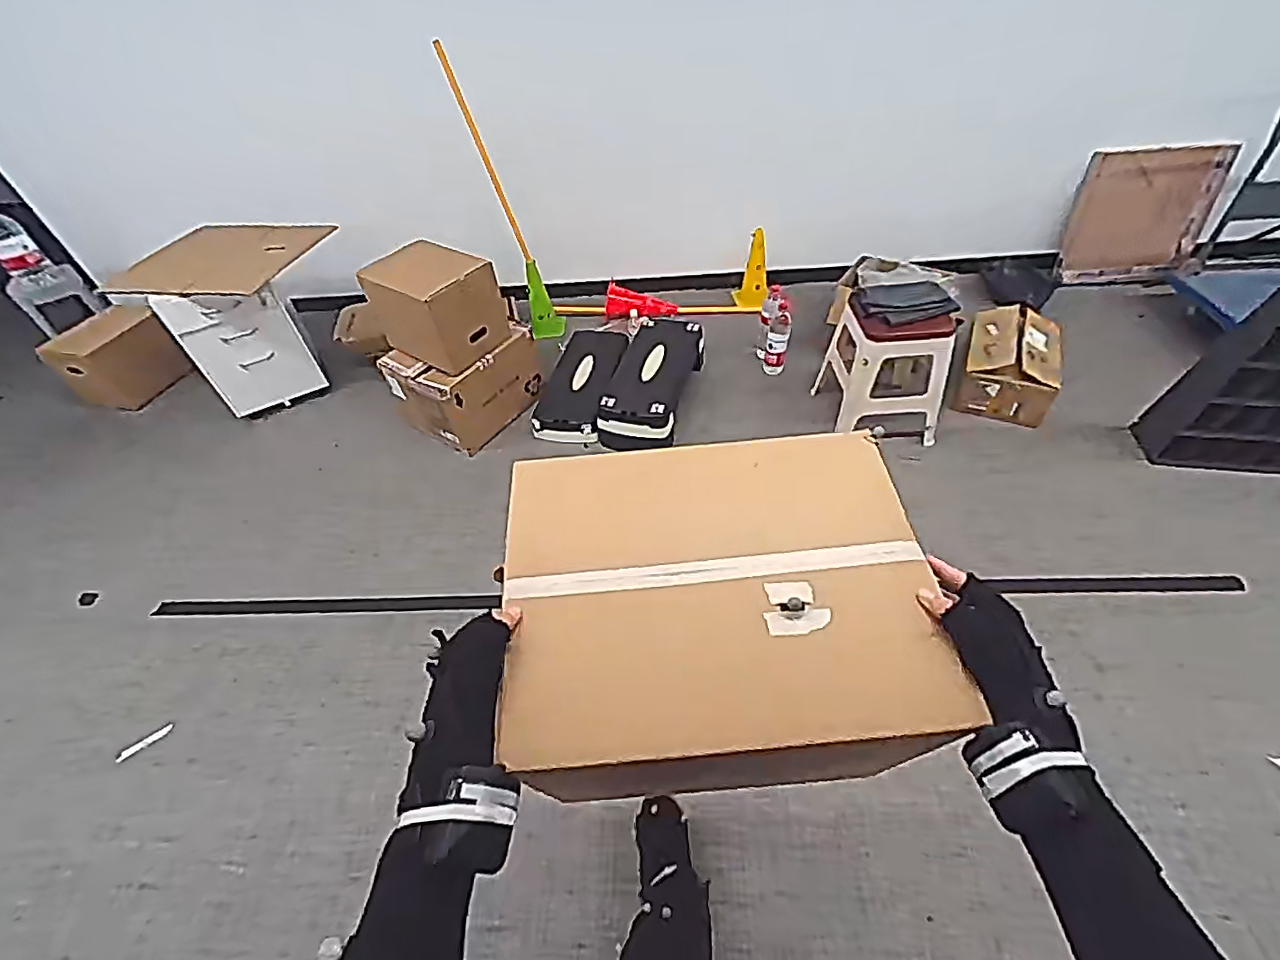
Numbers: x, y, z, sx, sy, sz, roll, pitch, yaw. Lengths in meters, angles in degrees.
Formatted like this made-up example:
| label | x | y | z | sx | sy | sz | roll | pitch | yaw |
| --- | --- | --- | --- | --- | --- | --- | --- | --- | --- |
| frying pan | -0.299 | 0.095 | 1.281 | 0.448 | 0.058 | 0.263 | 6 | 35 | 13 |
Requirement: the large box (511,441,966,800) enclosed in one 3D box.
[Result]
| label | x | y | z | sx | sy | sz | roll | pitch | yaw |
| --- | --- | --- | --- | --- | --- | --- | --- | --- | --- |
| large box | 0.077 | 0.183 | 0.665 | 0.408 | 0.320 | 0.320 | -5 | 56 | -1 |
